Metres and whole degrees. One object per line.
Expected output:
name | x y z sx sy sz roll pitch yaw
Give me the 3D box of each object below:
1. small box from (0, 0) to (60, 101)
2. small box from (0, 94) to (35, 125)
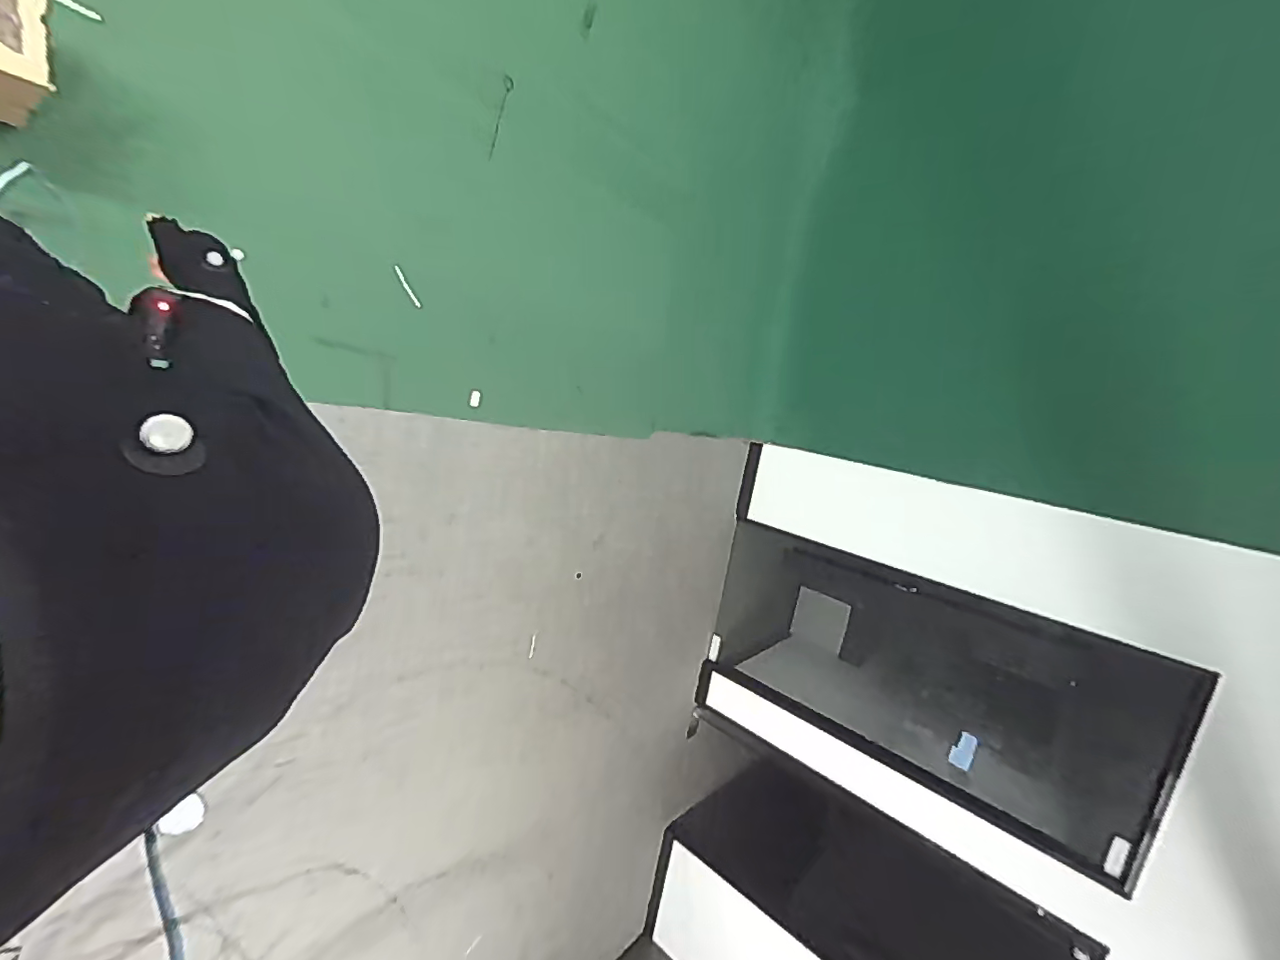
small box | -0.891 -0.630 0.700 0.179 0.176 0.168 4 99 -51
small box | -1.020 -0.667 0.799 0.168 0.176 0.179 1 104 -50
